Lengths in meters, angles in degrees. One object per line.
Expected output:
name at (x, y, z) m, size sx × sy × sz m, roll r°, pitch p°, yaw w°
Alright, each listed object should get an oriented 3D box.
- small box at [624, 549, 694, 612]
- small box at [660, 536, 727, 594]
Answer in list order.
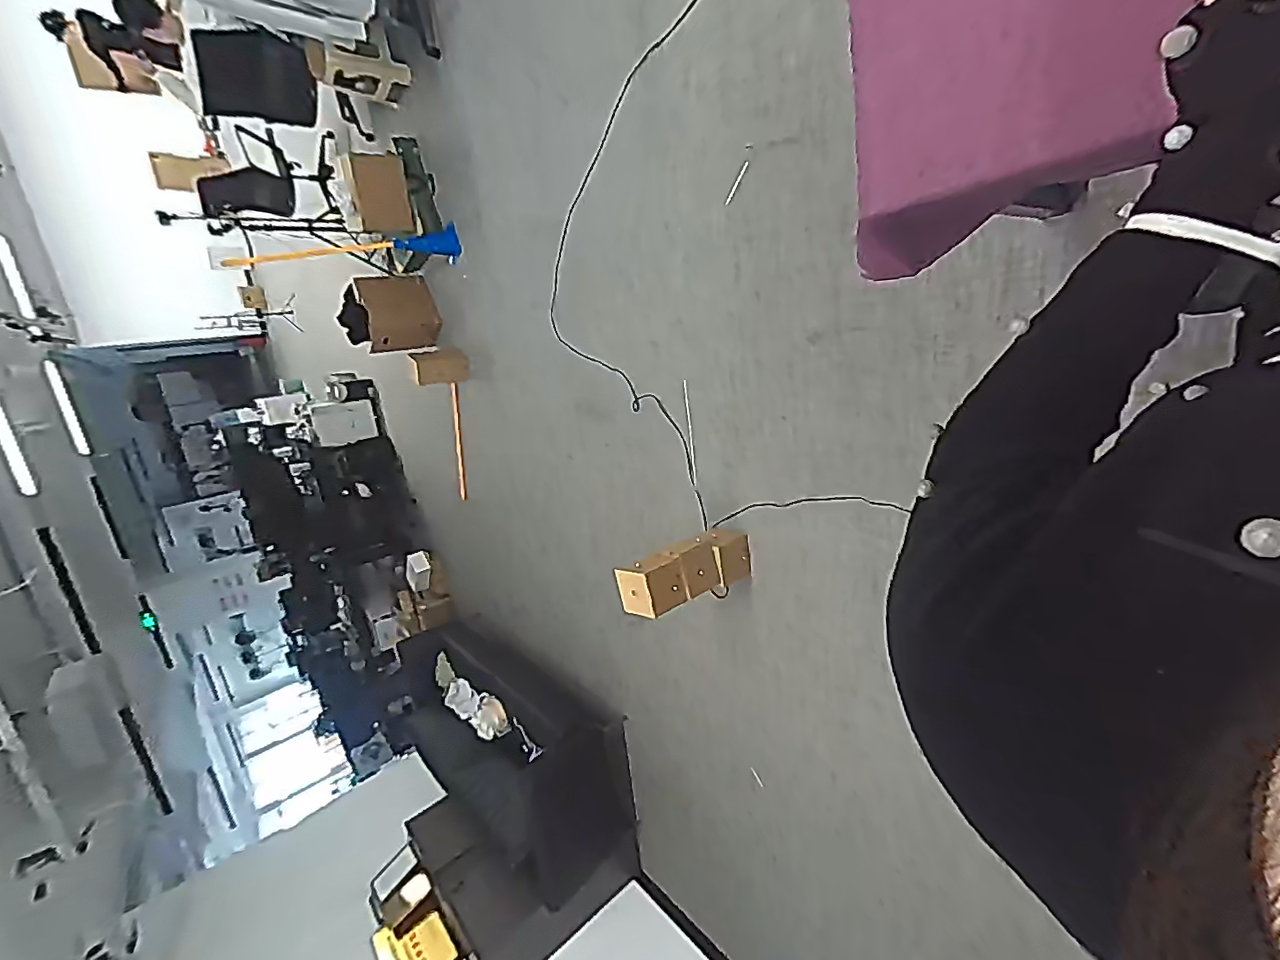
small box at (0.071, 0.359, 1.970) m, size 0.179 × 0.176 × 0.168 m, roll -3°, pitch 103°, yaw 52°
small box at (0.205, 0.316, 2.053) m, size 0.168 × 0.176 × 0.179 m, roll -8°, pitch 100°, yaw 54°
